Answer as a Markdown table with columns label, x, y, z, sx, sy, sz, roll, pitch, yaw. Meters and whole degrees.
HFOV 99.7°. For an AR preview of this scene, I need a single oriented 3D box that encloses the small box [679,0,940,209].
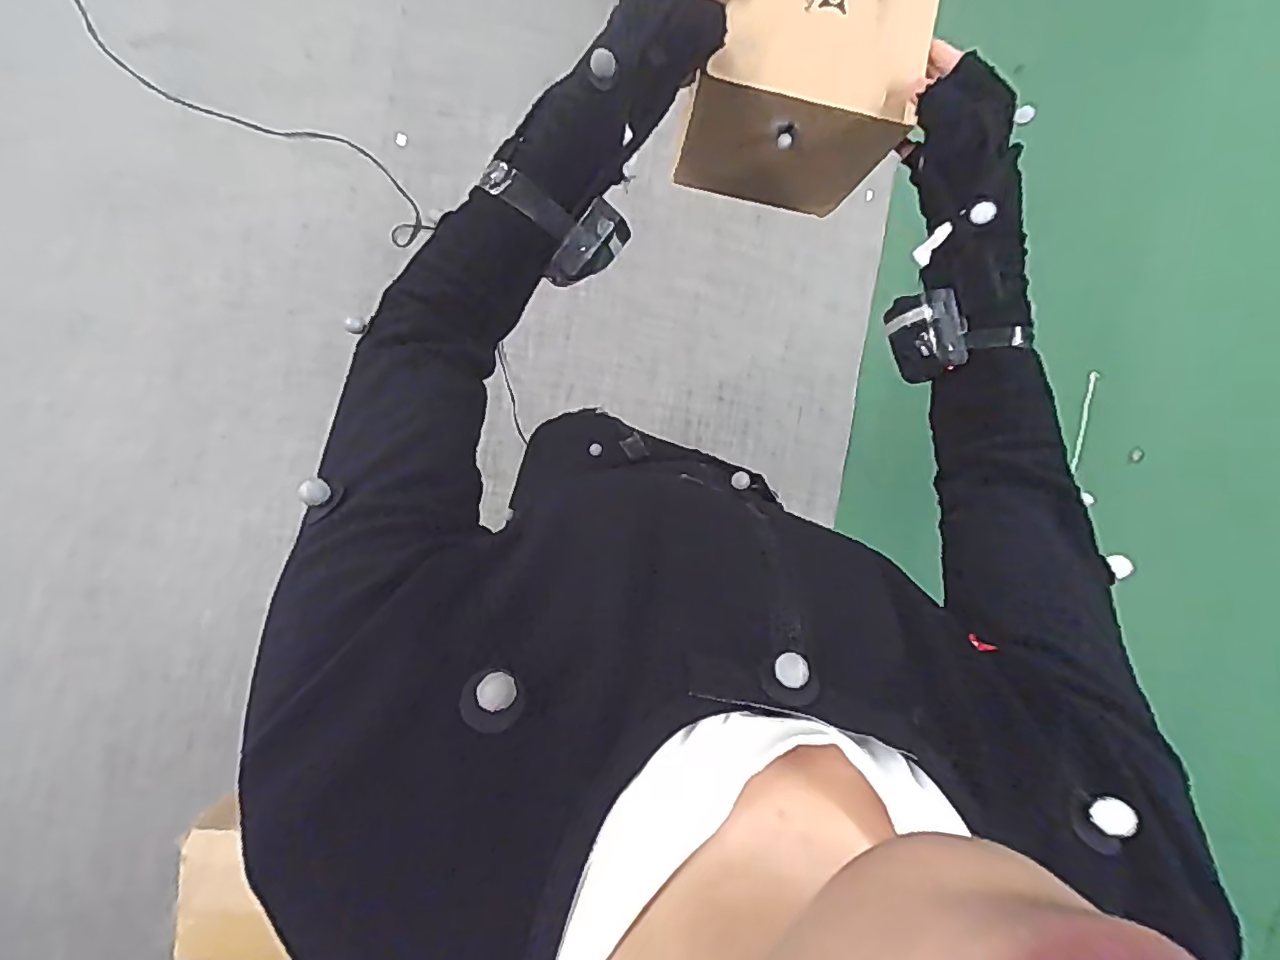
| label | x | y | z | sx | sy | sz | roll | pitch | yaw |
| --- | --- | --- | --- | --- | --- | --- | --- | --- | --- |
| small box | 0.142 | -0.378 | 0.499 | 0.179 | 0.176 | 0.168 | 9 | 92 | -7 |
